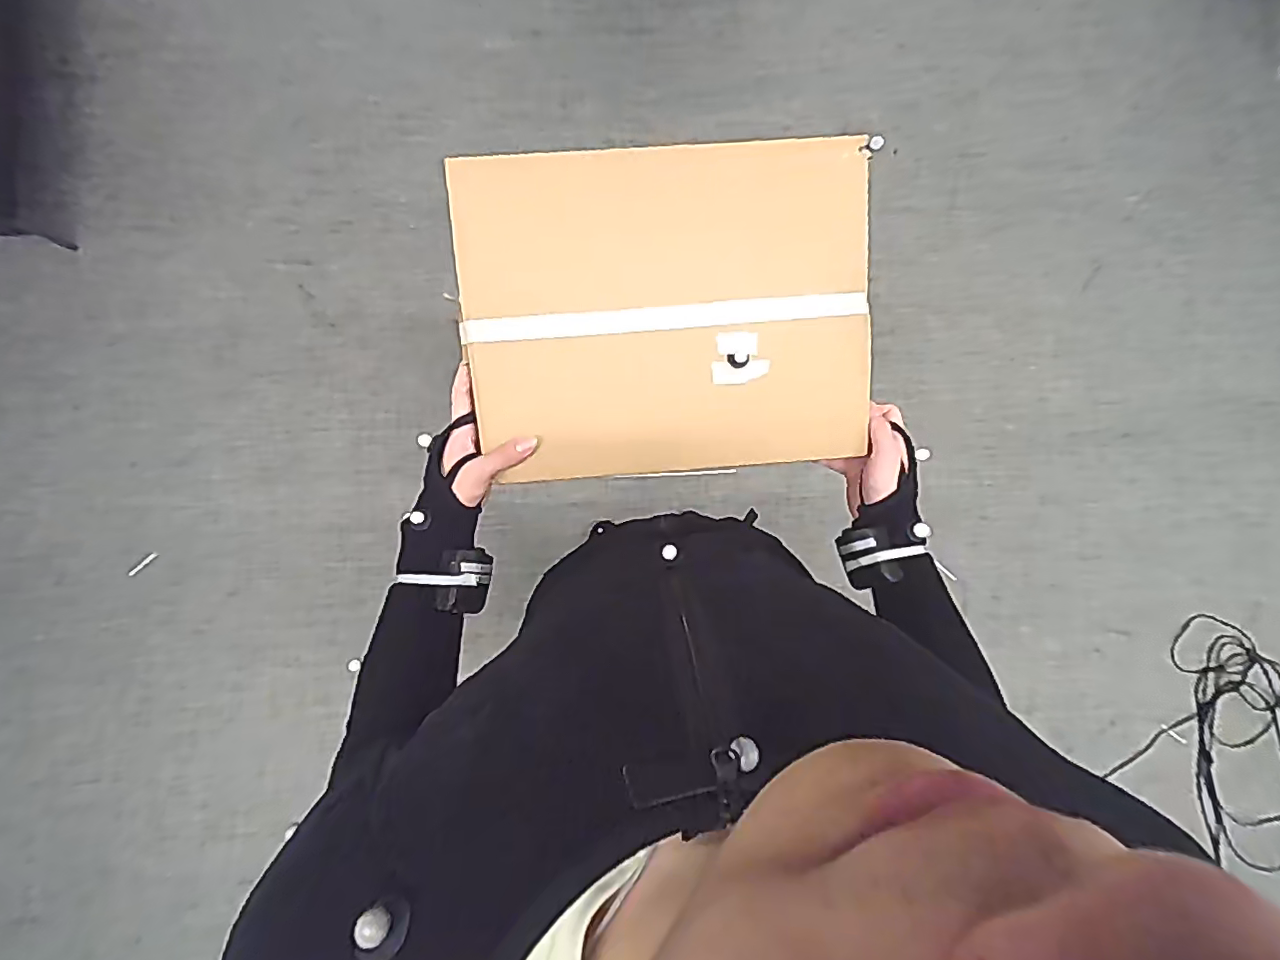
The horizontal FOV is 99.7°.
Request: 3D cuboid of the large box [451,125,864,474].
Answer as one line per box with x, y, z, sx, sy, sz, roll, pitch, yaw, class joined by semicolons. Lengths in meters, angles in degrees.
0.020;-0.202;0.692;0.408;0.320;0.320;-5;101;-2;large box
